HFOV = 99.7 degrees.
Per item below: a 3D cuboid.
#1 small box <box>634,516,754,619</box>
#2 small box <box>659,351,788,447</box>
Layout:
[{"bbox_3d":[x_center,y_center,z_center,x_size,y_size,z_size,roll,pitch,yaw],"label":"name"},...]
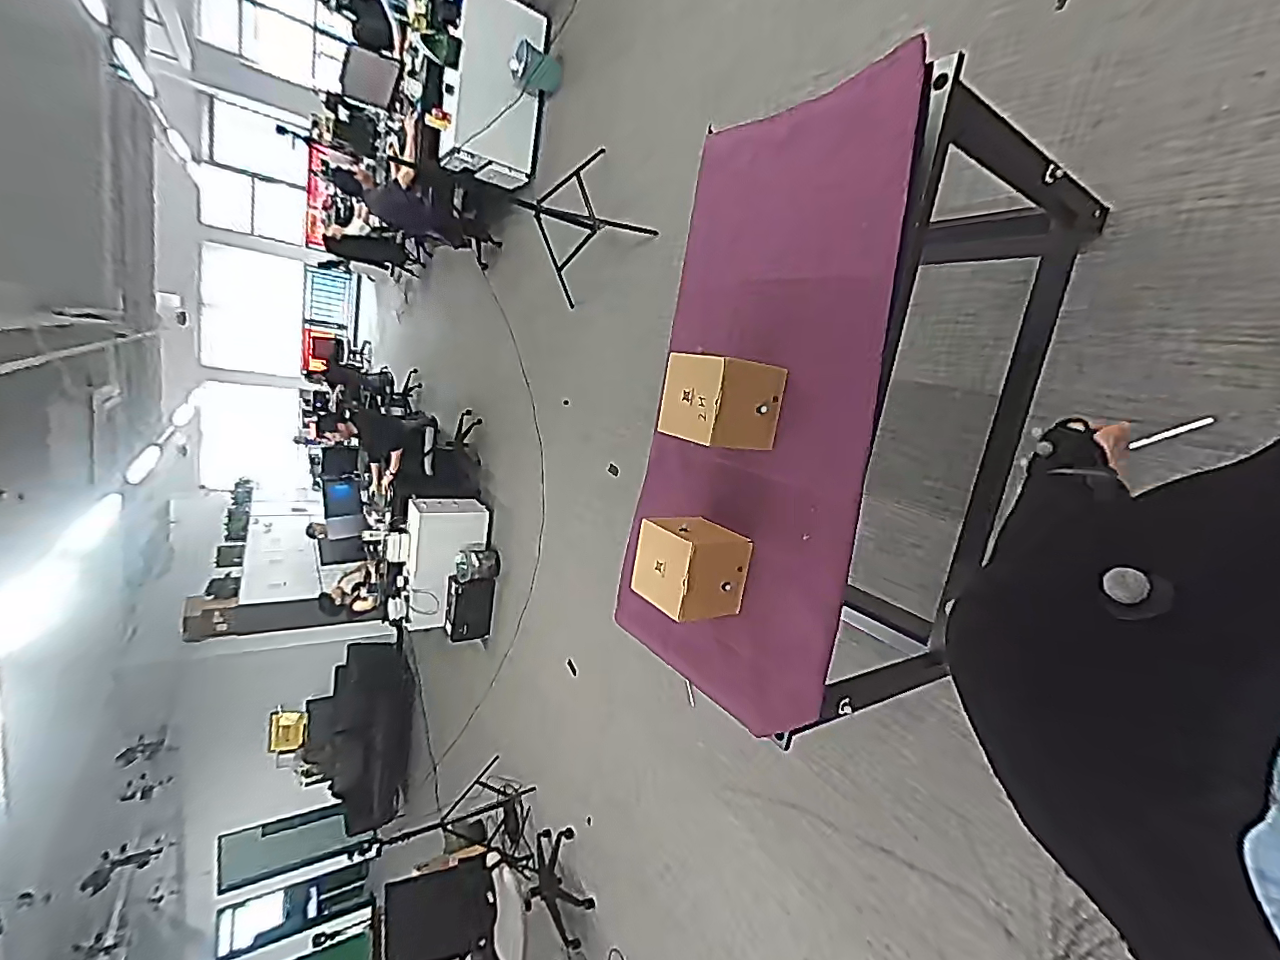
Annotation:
[{"bbox_3d":[0.113,0.181,1.162,0.179,0.176,0.168,23,107,53],"label":"small box"},{"bbox_3d":[0.166,-0.162,1.095,0.179,0.176,0.168,25,110,53],"label":"small box"}]
